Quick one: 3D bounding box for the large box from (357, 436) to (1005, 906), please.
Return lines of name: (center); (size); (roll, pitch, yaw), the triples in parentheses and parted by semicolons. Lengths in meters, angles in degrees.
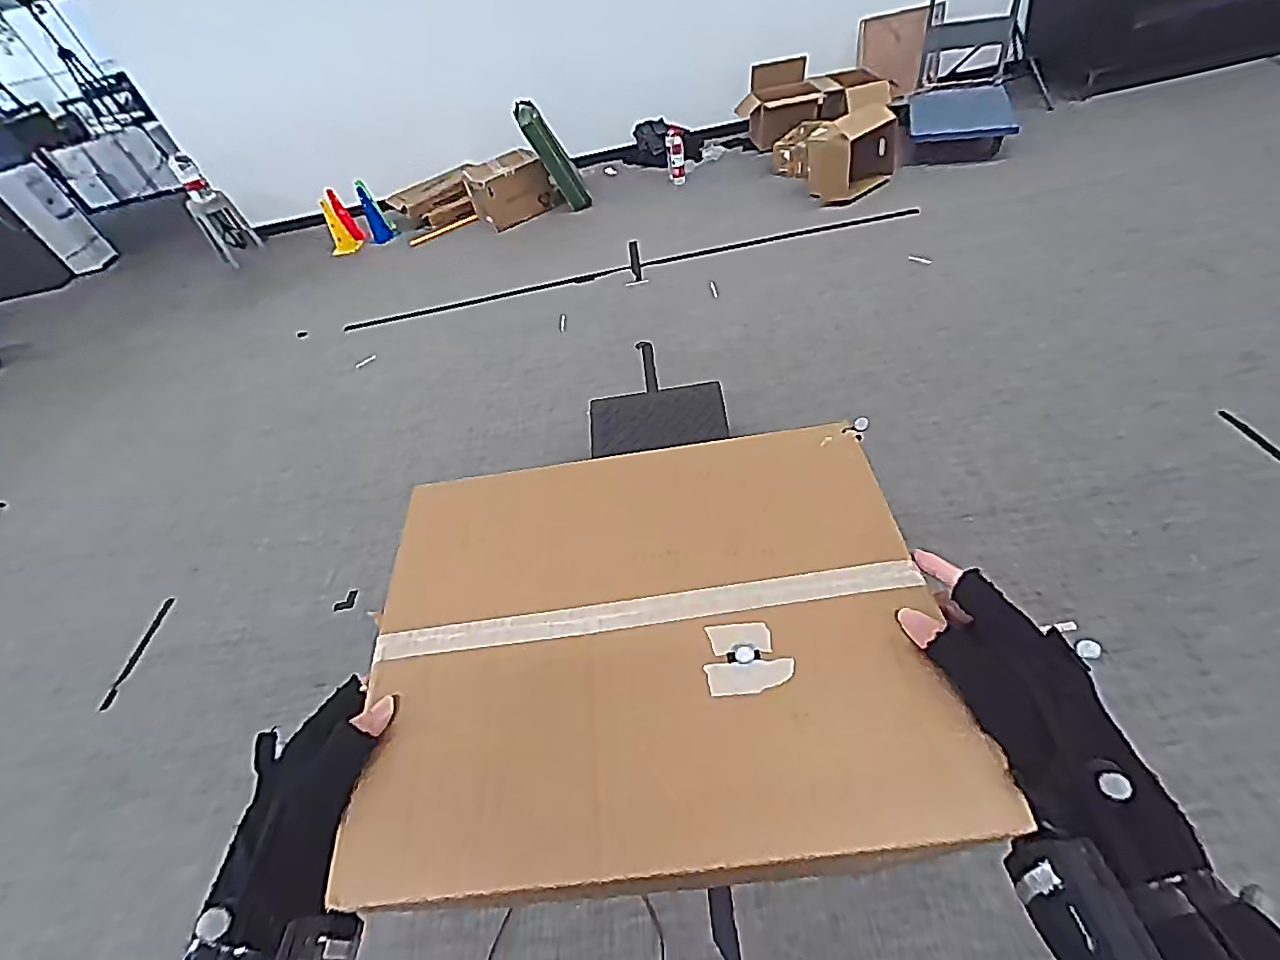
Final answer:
large box: (0.023, 0.198, 0.530); (0.408, 0.320, 0.320); (-8, 52, 2)
